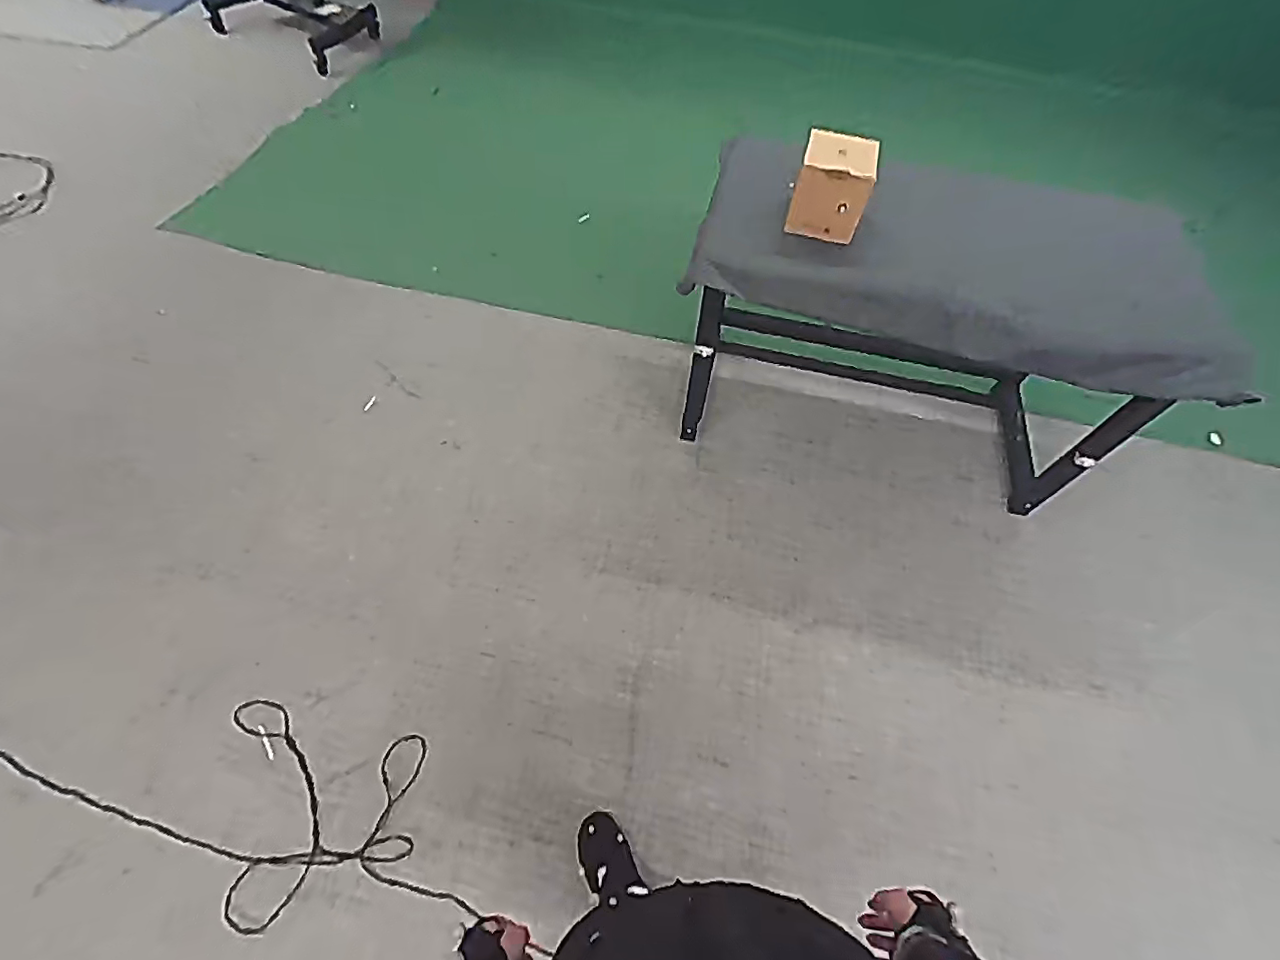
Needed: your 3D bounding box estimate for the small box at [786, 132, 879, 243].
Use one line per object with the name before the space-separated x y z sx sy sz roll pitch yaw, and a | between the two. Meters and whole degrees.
small box | 0.467 -0.713 1.327 0.168 0.176 0.179 16 57 5
